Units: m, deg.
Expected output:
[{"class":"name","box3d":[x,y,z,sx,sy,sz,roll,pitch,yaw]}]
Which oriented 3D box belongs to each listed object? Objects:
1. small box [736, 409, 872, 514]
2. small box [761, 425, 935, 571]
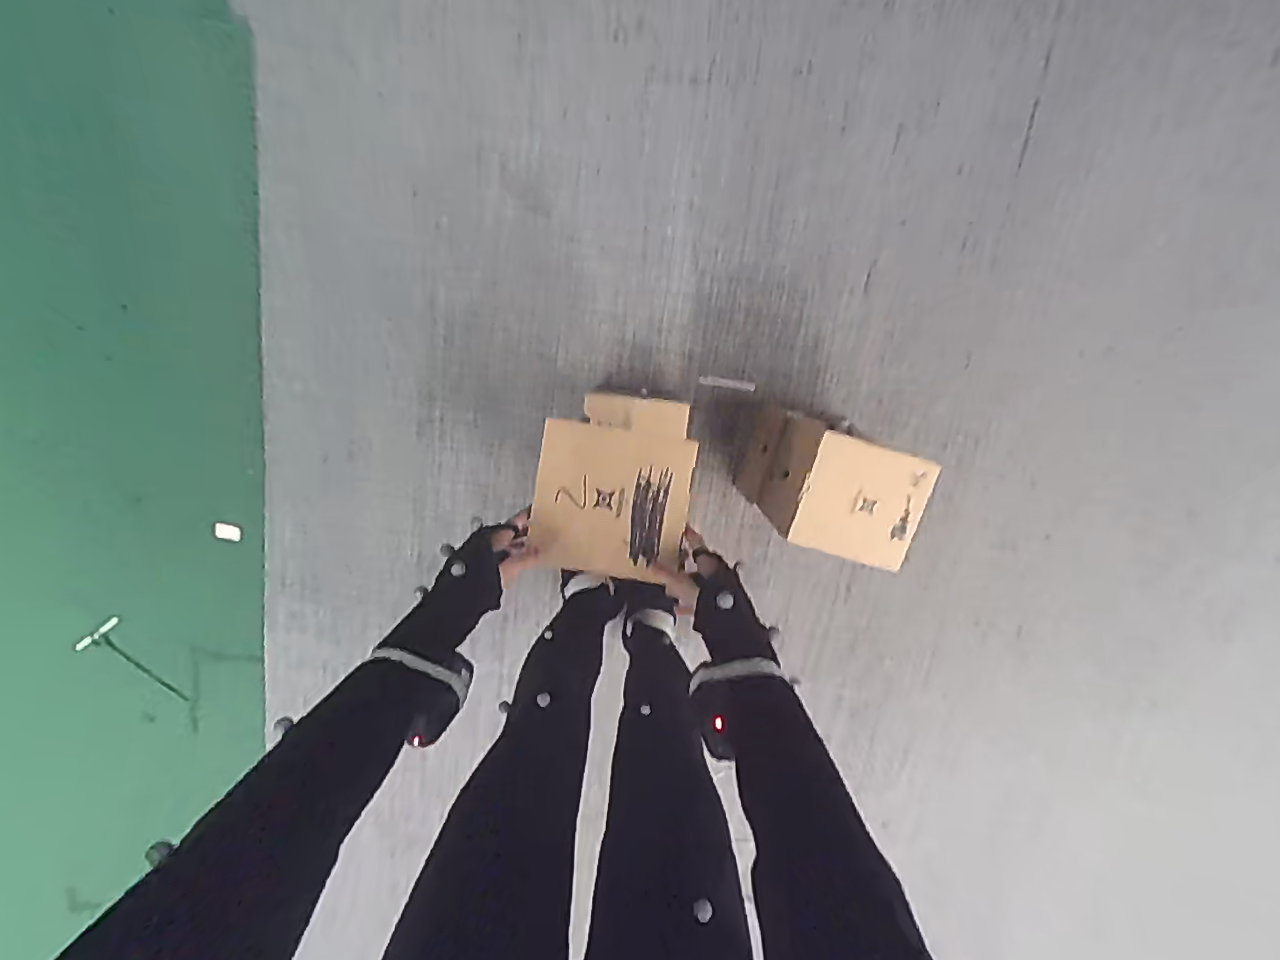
[{"class":"small box","box3d":[0.289,-0.024,0.996,0.168,0.176,0.179,16,102,-4]},{"class":"small box","box3d":[0.304,0.017,0.837,0.179,0.176,0.168,16,102,-3]}]
